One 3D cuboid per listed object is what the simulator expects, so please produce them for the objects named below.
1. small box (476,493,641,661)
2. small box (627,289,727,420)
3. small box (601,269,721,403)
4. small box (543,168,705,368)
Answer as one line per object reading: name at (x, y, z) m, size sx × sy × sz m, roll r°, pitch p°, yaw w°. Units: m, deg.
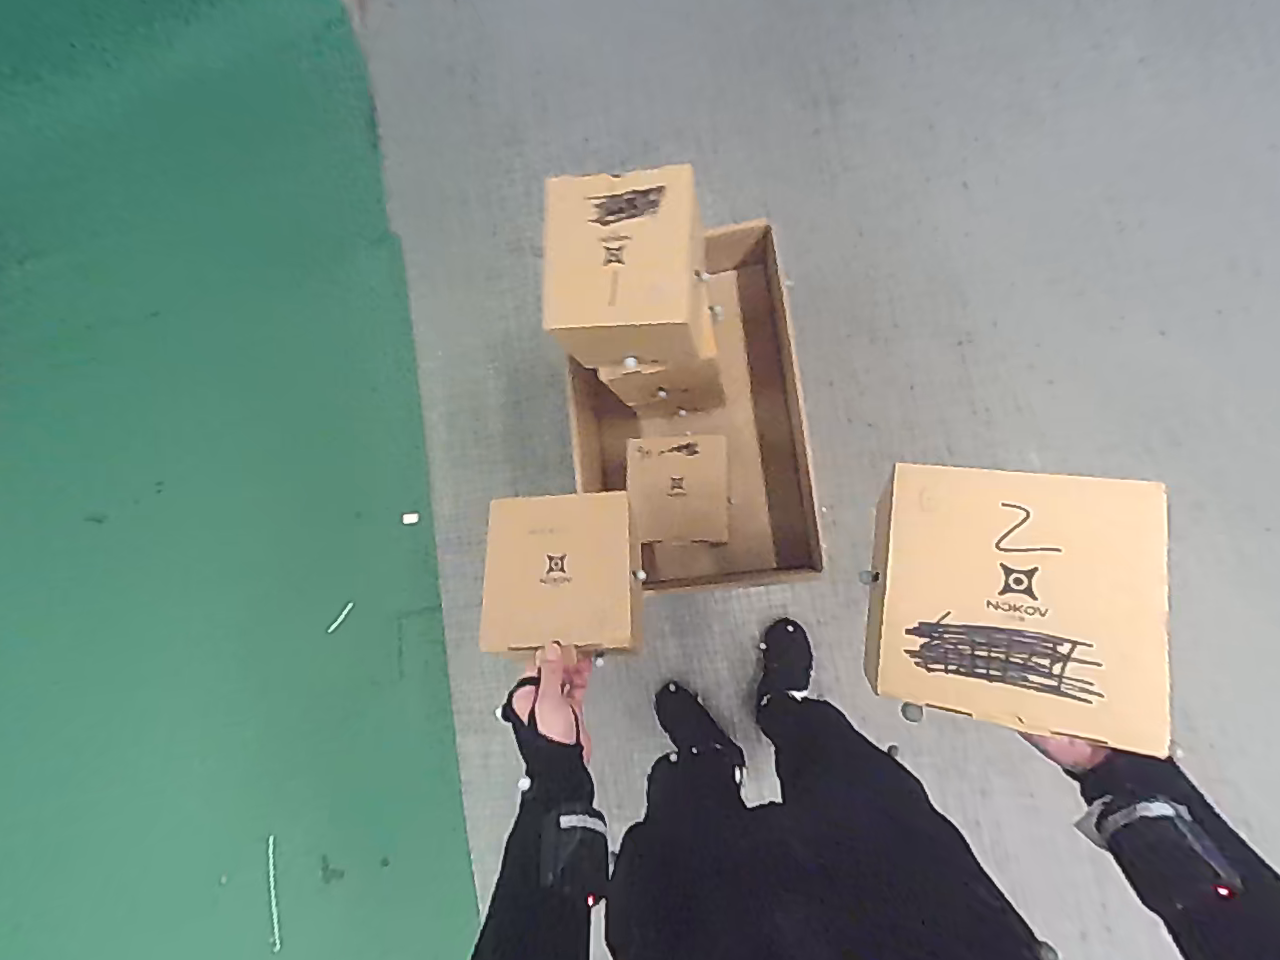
small box at (-0.089, 0.130, 0.675) m, size 0.168 × 0.176 × 0.179 m, roll -4°, pitch 66°, yaw 4°
small box at (0.065, -0.221, 0.990) m, size 0.168 × 0.176 × 0.179 m, roll -8°, pitch 84°, yaw 12°
small box at (0.030, -0.232, 0.833) m, size 0.168 × 0.176 × 0.179 m, roll -9°, pitch 84°, yaw 11°
small box at (-0.009, -0.249, 0.674) m, size 0.168 × 0.176 × 0.179 m, roll 1°, pitch 86°, yaw 12°
